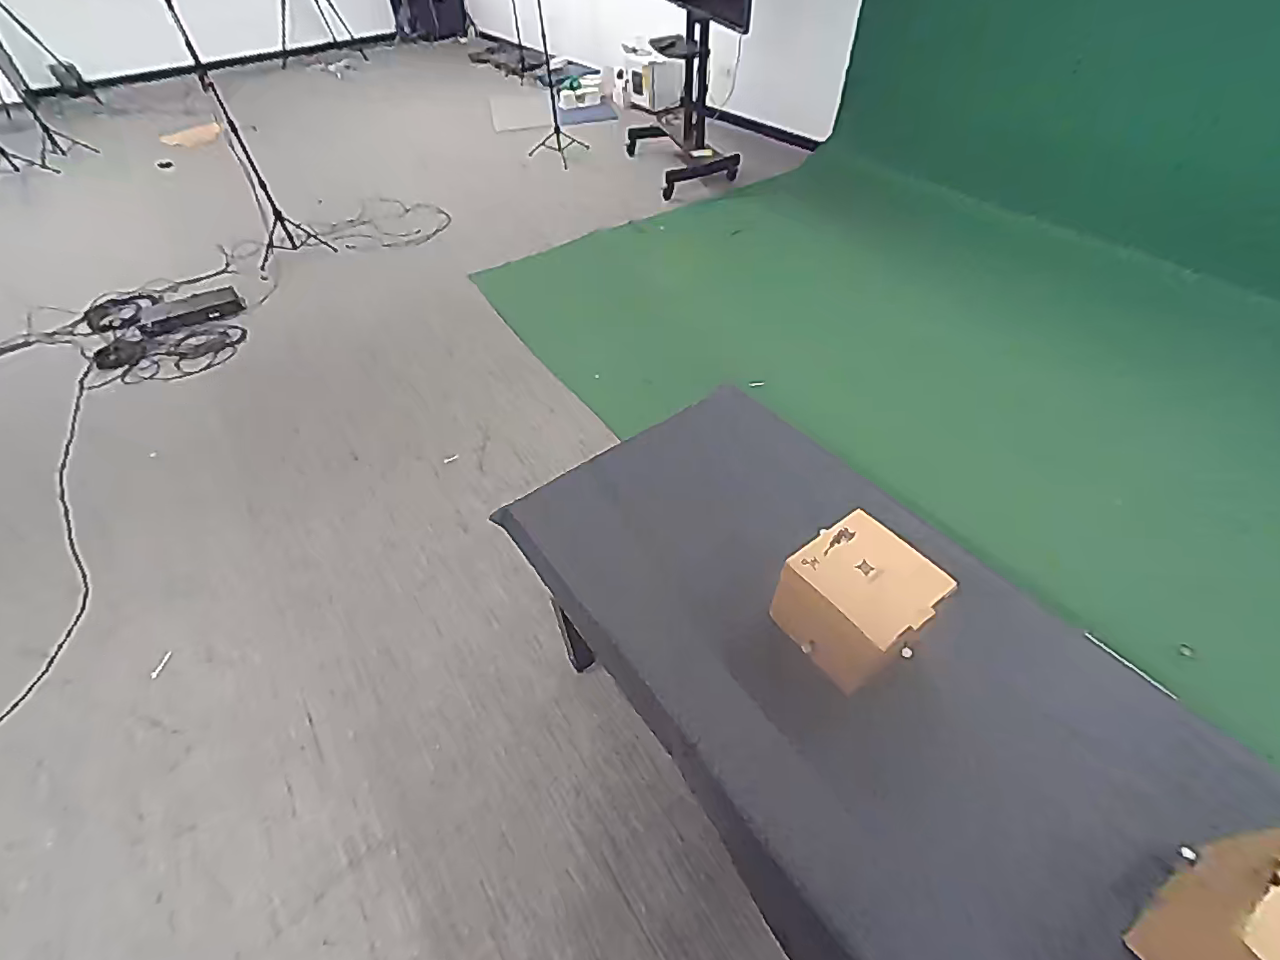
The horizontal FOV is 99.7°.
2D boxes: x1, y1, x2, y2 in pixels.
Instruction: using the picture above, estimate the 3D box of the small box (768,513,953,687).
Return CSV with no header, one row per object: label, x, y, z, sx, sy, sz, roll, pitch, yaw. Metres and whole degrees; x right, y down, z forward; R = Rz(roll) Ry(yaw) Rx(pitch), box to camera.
small box,0.325,0.190,0.830,0.168,0.176,0.179,-28,54,-24
